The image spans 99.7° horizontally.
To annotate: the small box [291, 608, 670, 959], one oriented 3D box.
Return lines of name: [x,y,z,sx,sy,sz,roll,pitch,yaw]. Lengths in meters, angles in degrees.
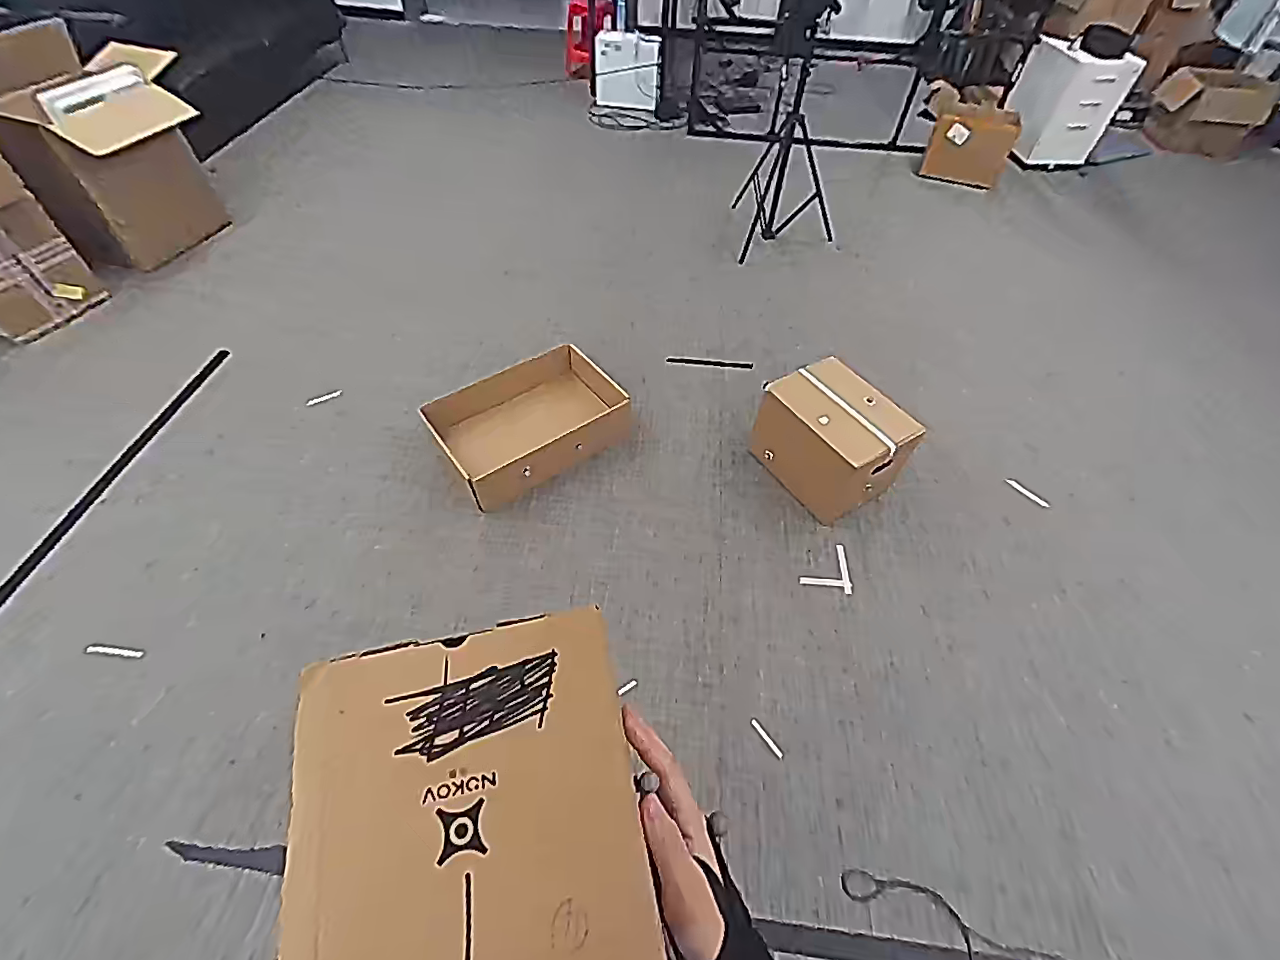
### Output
small box: [-0.084,0.201,0.339,0.168,0.176,0.179,-11,62,-6]
